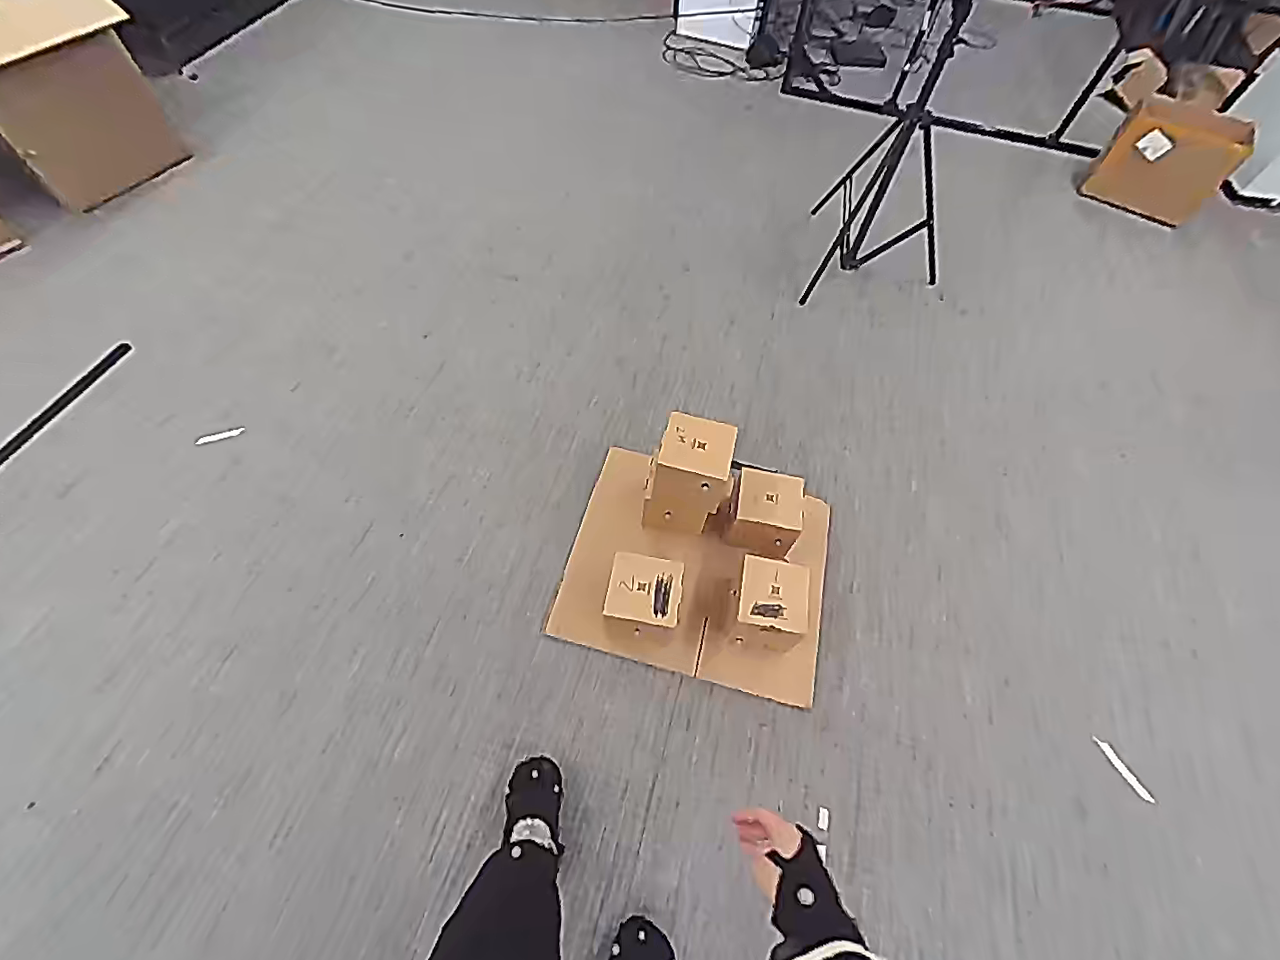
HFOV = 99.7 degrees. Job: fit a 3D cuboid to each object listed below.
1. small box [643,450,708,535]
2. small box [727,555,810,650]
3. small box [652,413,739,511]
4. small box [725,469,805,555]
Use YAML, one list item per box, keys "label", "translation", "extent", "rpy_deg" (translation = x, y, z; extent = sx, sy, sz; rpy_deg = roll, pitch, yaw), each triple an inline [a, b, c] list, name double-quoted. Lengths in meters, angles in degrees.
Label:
- label: "small box"
  translation: [0.106, 0.040, 1.516]
  extent: [0.179, 0.176, 0.168]
  rpy_deg: [10, 60, 4]
- label: "small box"
  translation: [0.321, 0.316, 1.366]
  extent: [0.168, 0.176, 0.179]
  rpy_deg: [11, 59, 3]
- label: "small box"
  translation: [0.138, -0.038, 1.372]
  extent: [0.179, 0.176, 0.168]
  rpy_deg: [14, 58, 5]
- label: "small box"
  translation: [0.345, 0.094, 1.502]
  extent: [0.179, 0.176, 0.168]
  rpy_deg: [10, 58, 3]
